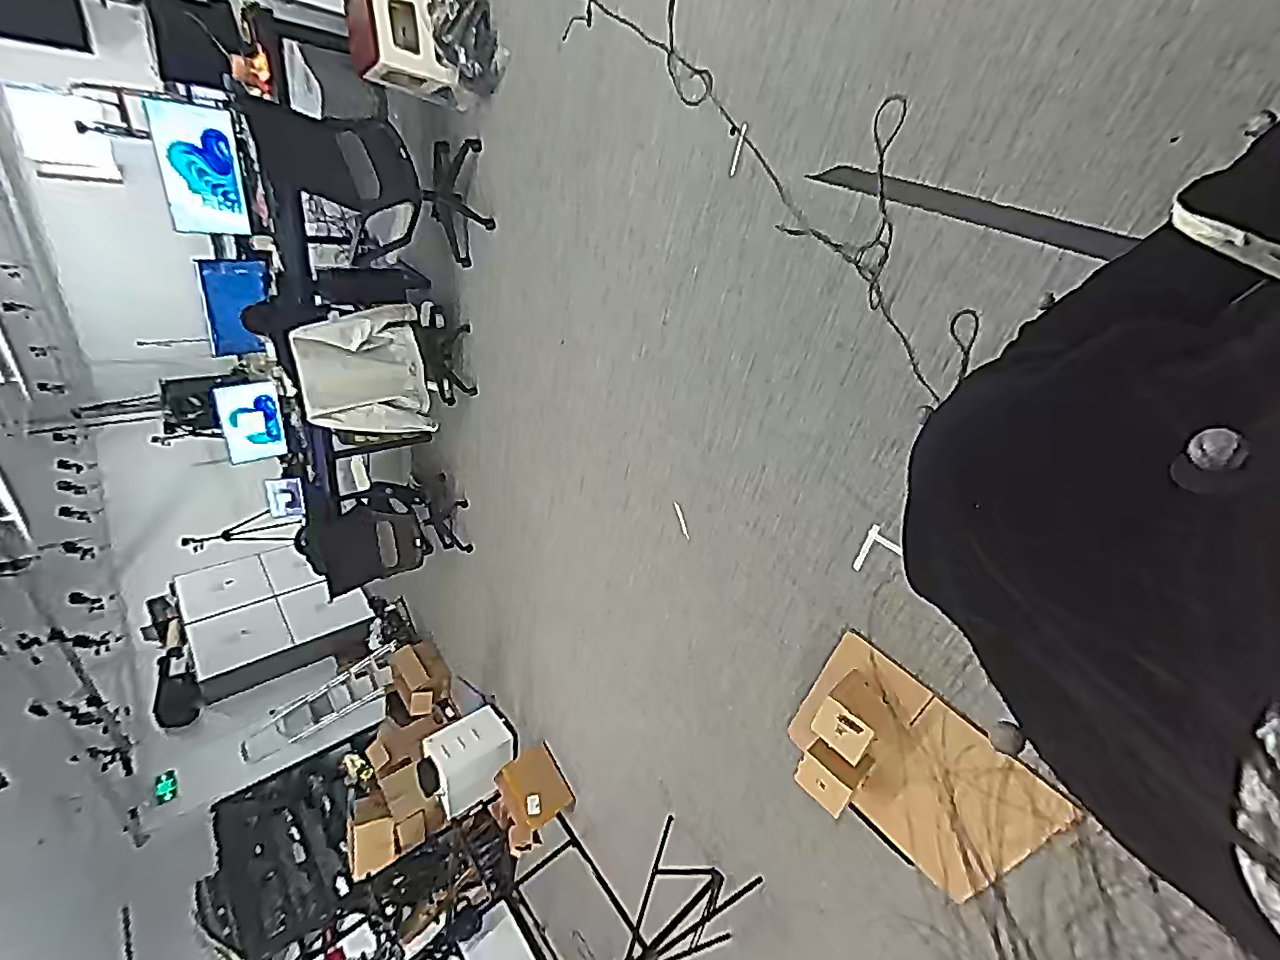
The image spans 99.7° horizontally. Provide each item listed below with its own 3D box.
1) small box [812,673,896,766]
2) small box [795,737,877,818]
[{"bbox_3d":[0.682,0.750,1.714,0.168,0.176,0.179,36,129,36],"label":"small box"},{"bbox_3d":[0.662,0.982,1.830,0.179,0.176,0.168,33,128,37],"label":"small box"}]
